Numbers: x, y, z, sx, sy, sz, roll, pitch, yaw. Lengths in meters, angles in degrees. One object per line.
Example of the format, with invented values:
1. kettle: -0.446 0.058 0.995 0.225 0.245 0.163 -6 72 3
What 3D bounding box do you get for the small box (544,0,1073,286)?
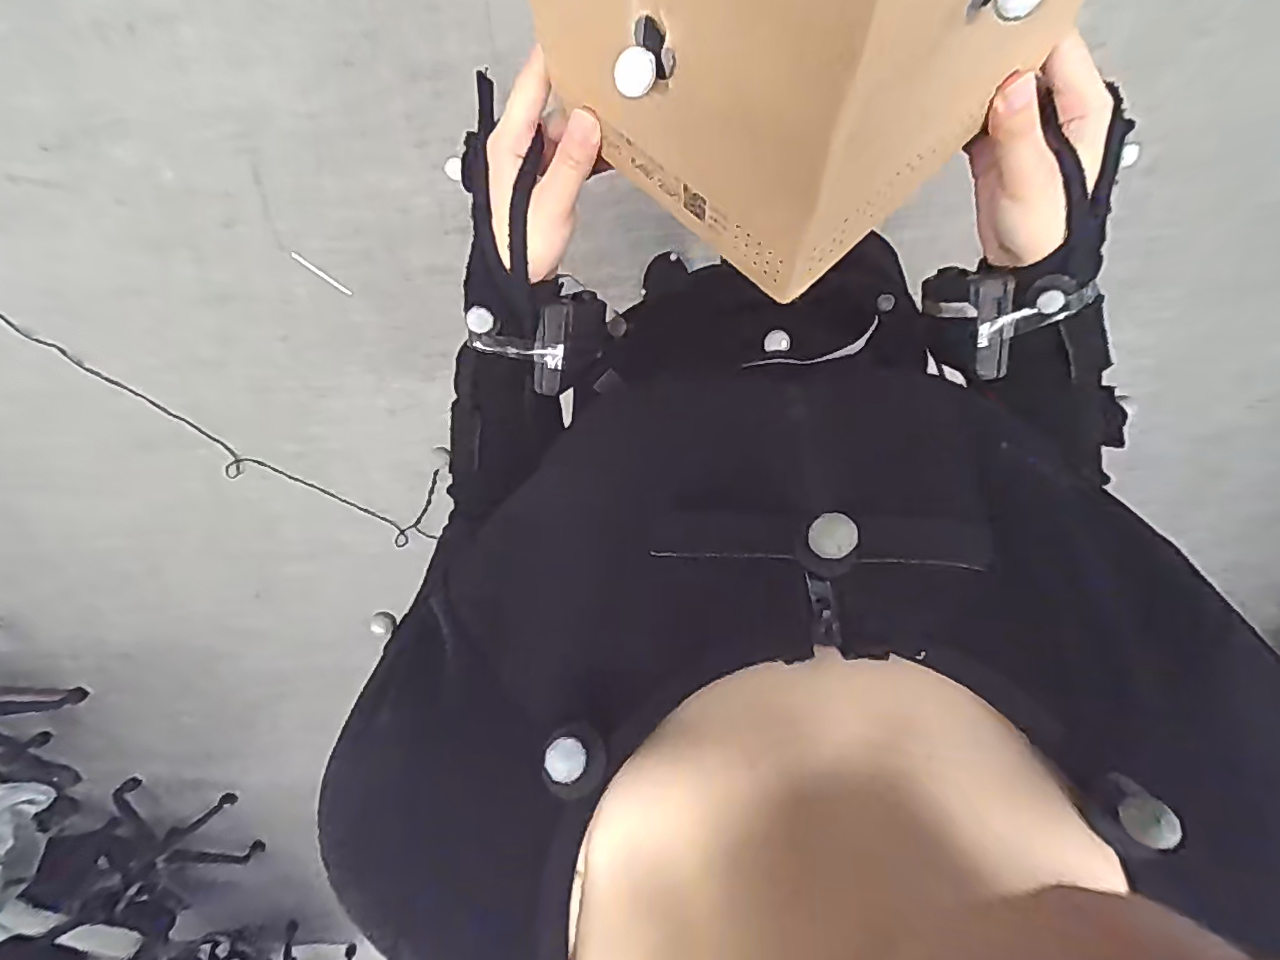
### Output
1. small box: 0.067 -0.212 0.201 0.179 0.176 0.168 -43 75 -6
